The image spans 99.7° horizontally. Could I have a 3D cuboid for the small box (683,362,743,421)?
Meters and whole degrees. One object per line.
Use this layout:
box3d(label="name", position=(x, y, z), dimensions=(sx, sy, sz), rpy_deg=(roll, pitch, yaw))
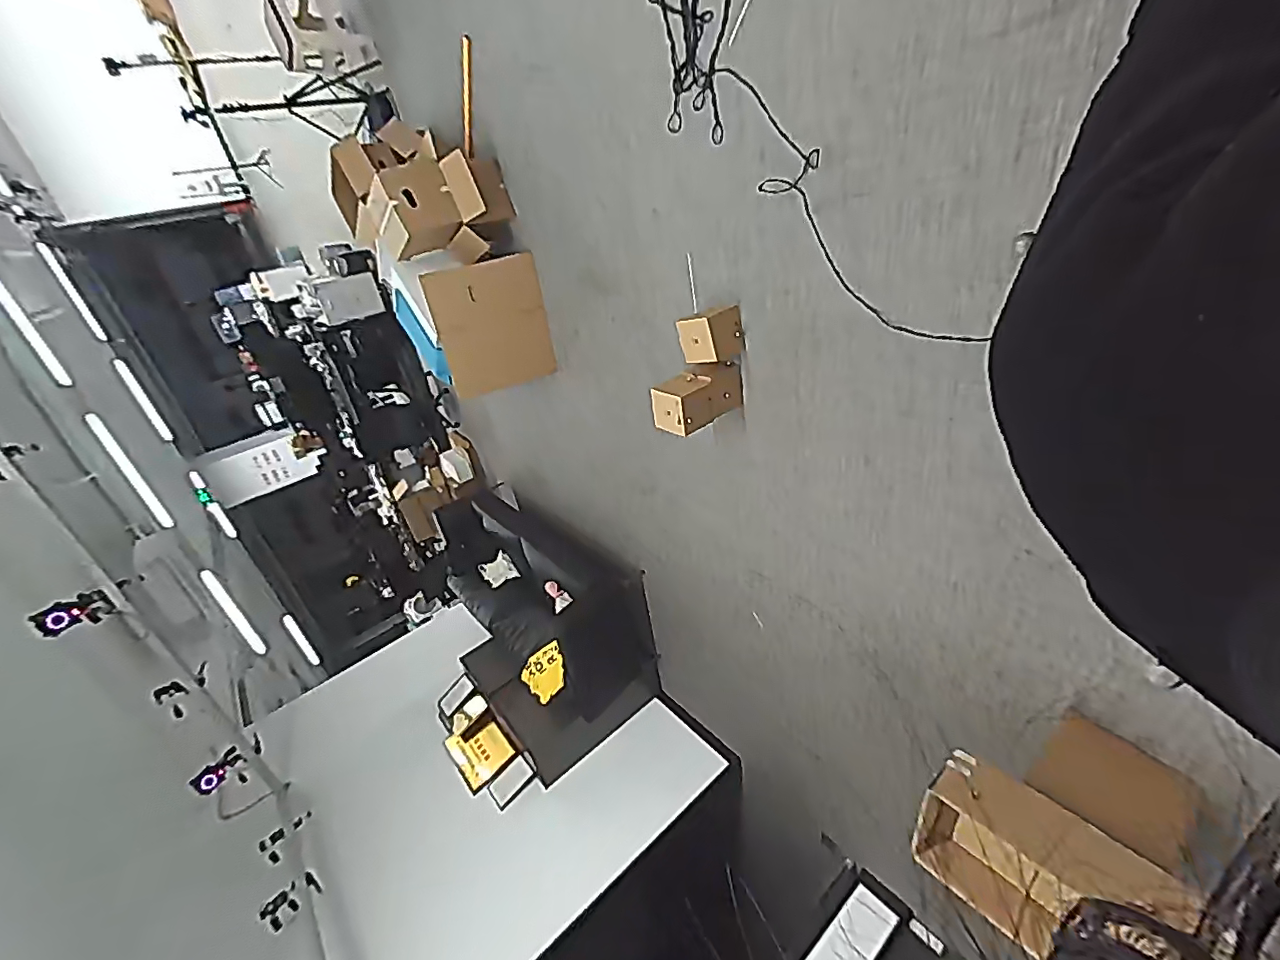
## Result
box3d(label="small box", position=(0.296, -0.363, 2.164), dimensions=(0.168, 0.176, 0.179), rpy_deg=(26, 137, 46))

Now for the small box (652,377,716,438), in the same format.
box3d(label="small box", position=(0.172, -0.287, 2.087), dimensions=(0.179, 0.176, 0.168), rpy_deg=(28, 138, 46))

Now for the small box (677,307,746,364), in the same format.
box3d(label="small box", position=(0.273, -0.545, 2.041), dimensions=(0.179, 0.176, 0.168), rpy_deg=(14, 128, 52))
